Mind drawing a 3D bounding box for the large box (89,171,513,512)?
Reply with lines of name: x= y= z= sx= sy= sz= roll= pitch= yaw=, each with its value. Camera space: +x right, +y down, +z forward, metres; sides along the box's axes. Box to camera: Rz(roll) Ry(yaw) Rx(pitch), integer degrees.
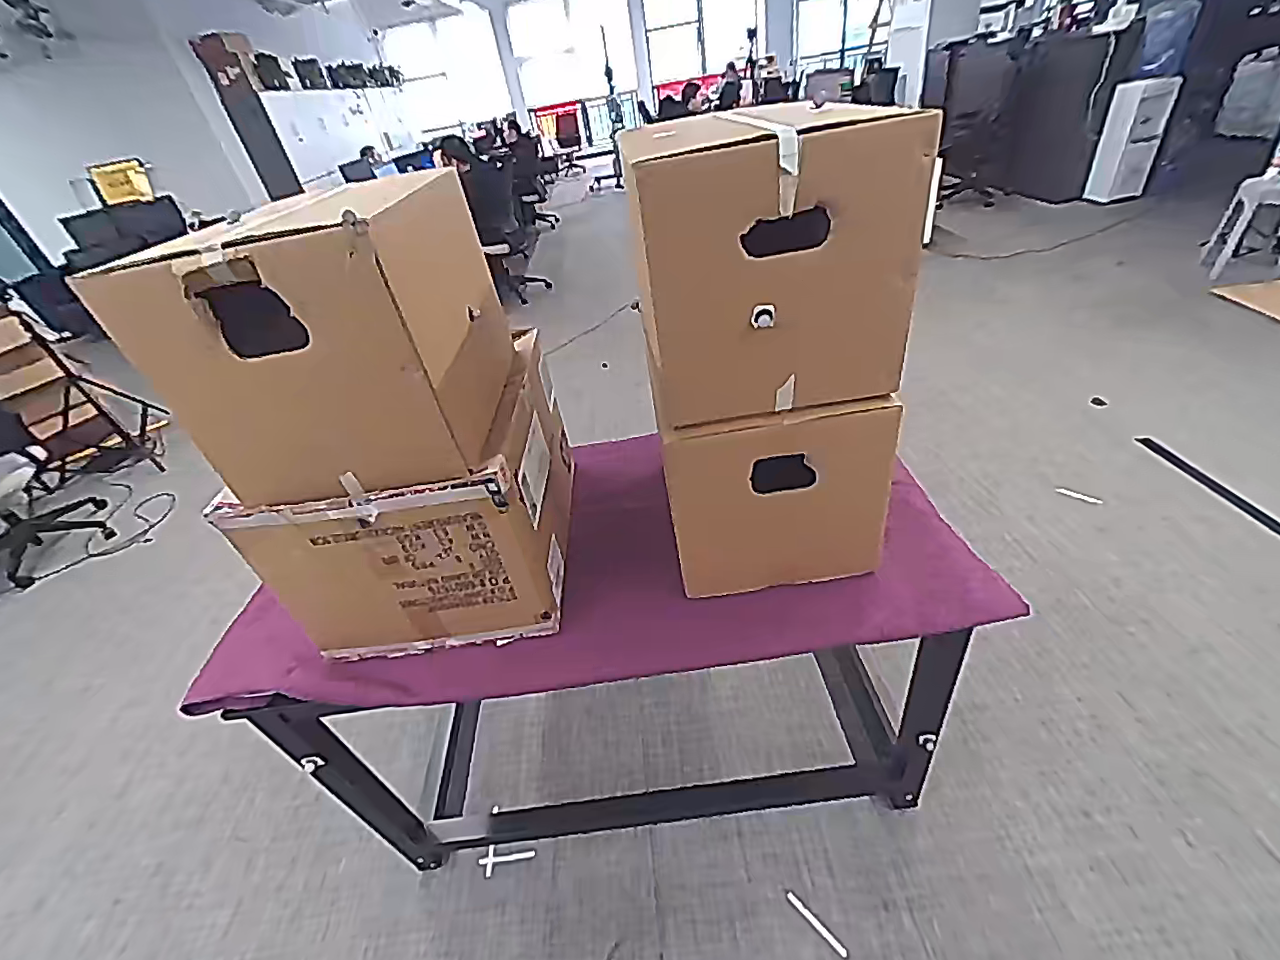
large box: x=-0.388 y=-0.215 z=0.771 sx=0.320 sy=0.320 sz=0.408 roll=-11 pitch=37 yaw=3
